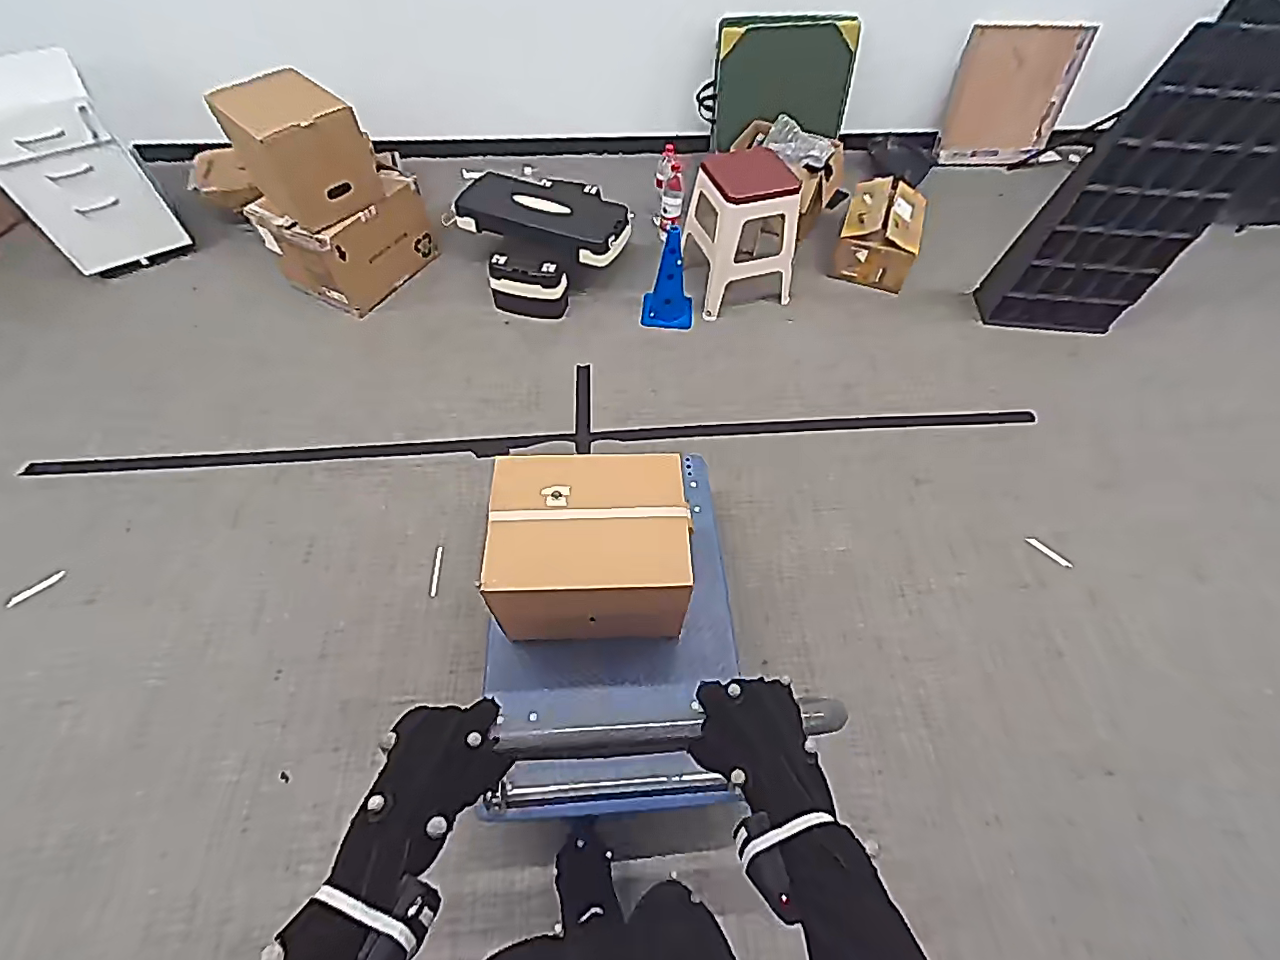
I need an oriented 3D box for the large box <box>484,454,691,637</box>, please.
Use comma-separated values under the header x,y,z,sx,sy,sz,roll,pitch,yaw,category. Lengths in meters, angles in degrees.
x,y,z,sx,sy,sz,roll,pitch,yaw,category
-0.107,0.158,1.236,0.408,0.320,0.320,-1,56,-2,large box
